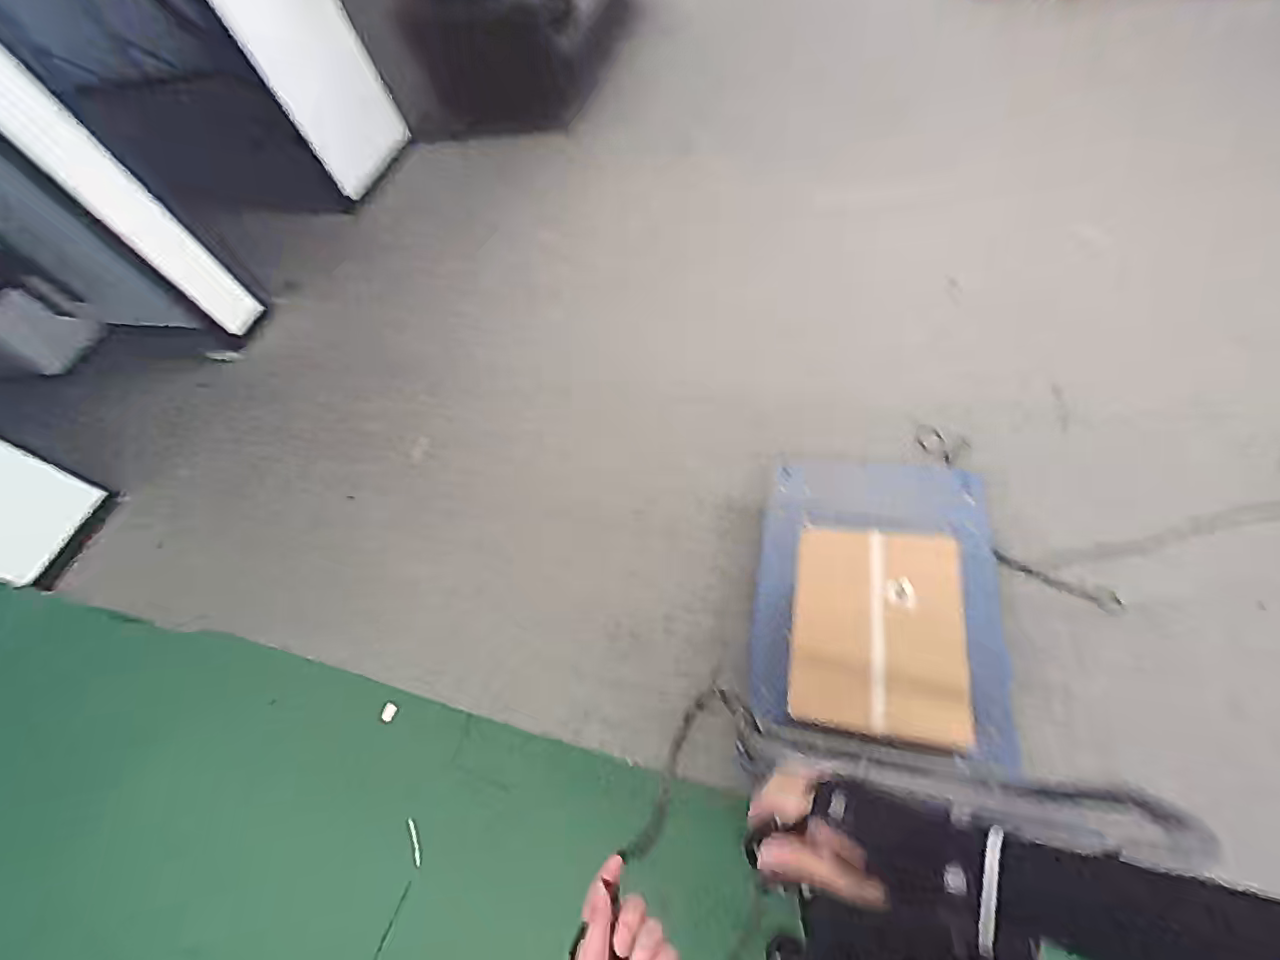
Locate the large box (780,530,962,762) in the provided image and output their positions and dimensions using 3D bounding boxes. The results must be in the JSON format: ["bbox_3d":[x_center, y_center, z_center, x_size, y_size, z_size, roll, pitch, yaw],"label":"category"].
[{"bbox_3d":[0.482,0.366,1.197,0.320,0.320,0.408,4,59,16],"label":"large box"}]
